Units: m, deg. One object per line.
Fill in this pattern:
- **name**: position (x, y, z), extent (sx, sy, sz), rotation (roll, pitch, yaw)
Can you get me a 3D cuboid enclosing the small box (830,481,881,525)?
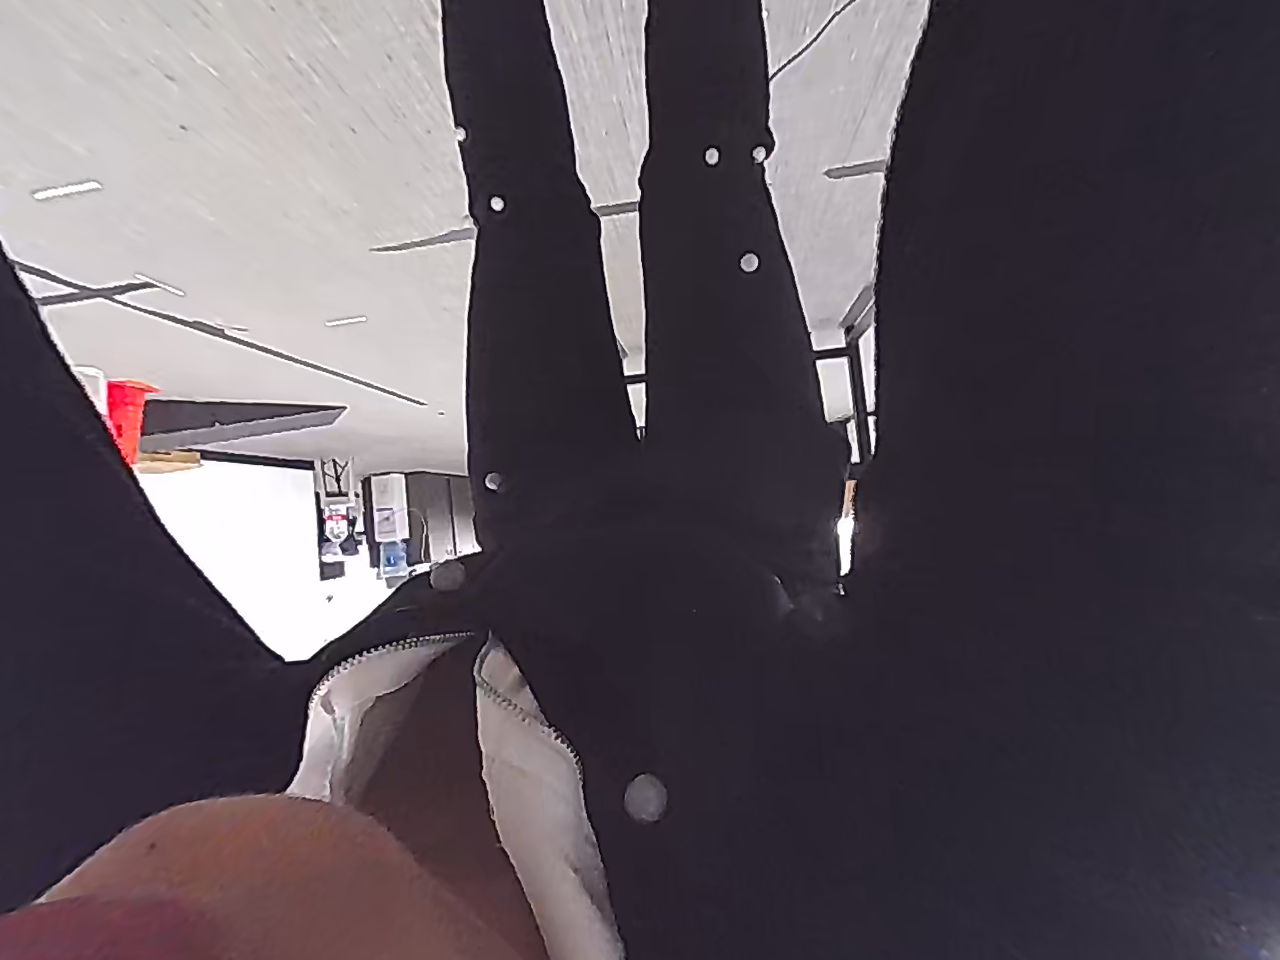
- **small box**: position (0.908, 0.096, 2.296), extent (0.168, 0.176, 0.179), rotation (-5, 177, 11)
